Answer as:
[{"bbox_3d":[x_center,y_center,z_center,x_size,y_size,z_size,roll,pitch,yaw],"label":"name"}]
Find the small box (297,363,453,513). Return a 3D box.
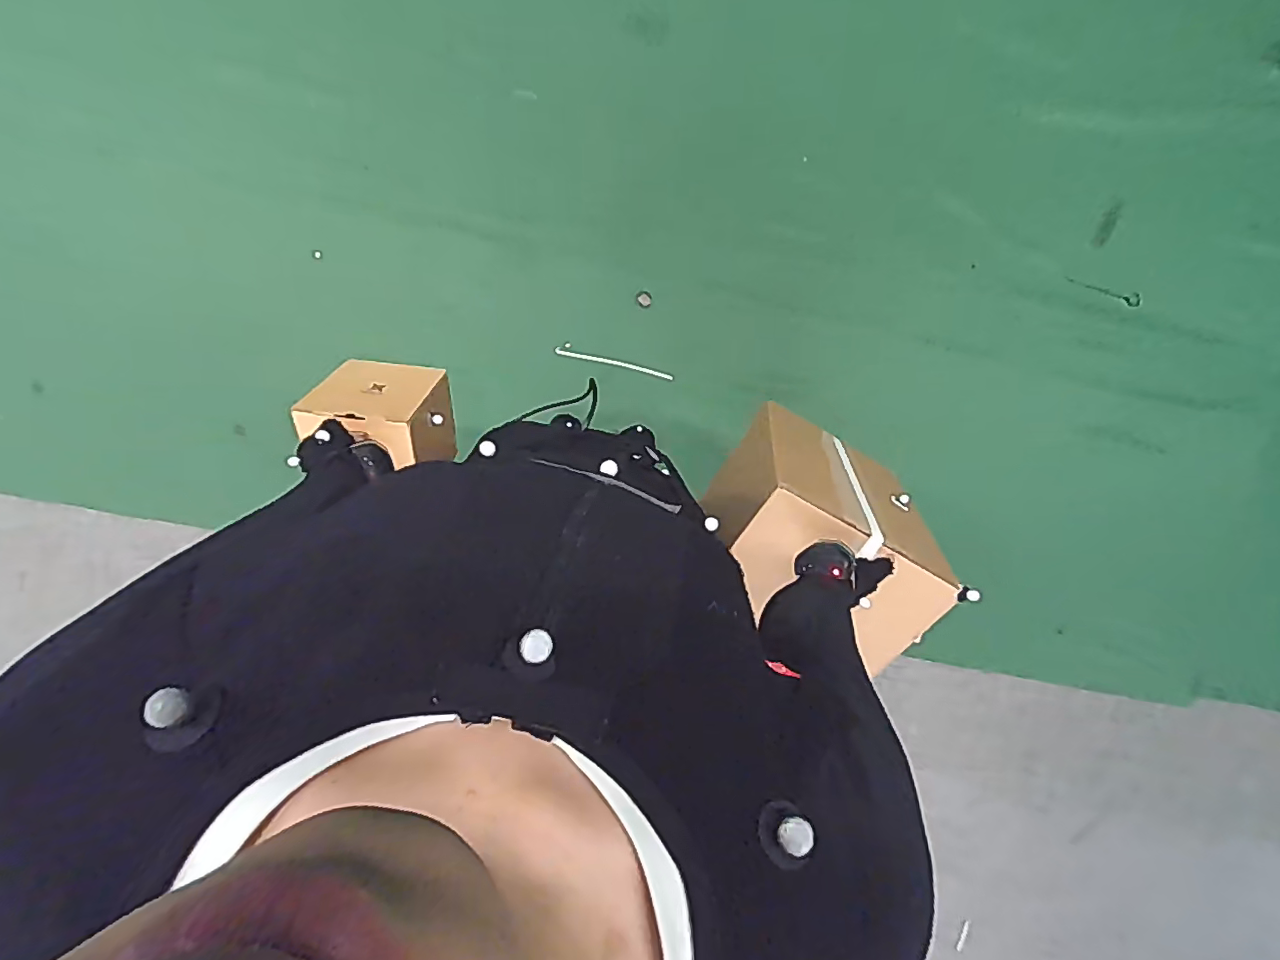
[{"bbox_3d":[-0.414,-0.070,0.882,0.168,0.179,0.176,6,127,-1],"label":"small box"}]
